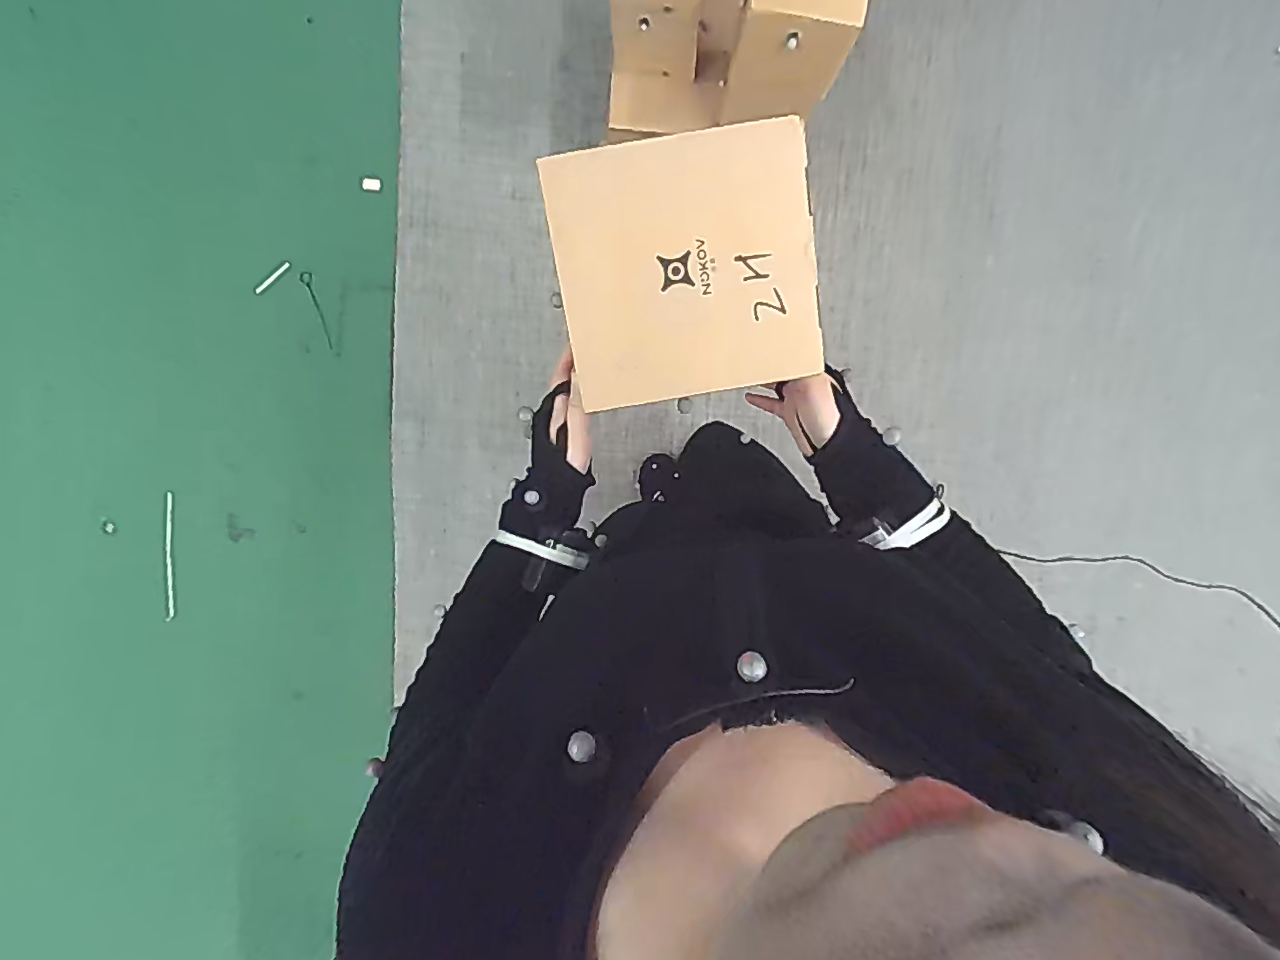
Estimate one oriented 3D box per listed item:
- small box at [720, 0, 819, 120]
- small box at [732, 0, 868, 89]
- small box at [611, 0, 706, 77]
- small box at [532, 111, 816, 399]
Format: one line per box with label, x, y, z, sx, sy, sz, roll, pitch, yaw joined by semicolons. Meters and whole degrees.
small box;0.253;-0.794;1.032;0.168;0.176;0.179;9;93;-1
small box;0.259;-0.774;0.870;0.179;0.176;0.168;10;94;0
small box;0.041;-0.923;1.030;0.168;0.176;0.179;9;93;2
small box;0.024;-0.162;0.436;0.179;0.176;0.168;-9;104;-1
